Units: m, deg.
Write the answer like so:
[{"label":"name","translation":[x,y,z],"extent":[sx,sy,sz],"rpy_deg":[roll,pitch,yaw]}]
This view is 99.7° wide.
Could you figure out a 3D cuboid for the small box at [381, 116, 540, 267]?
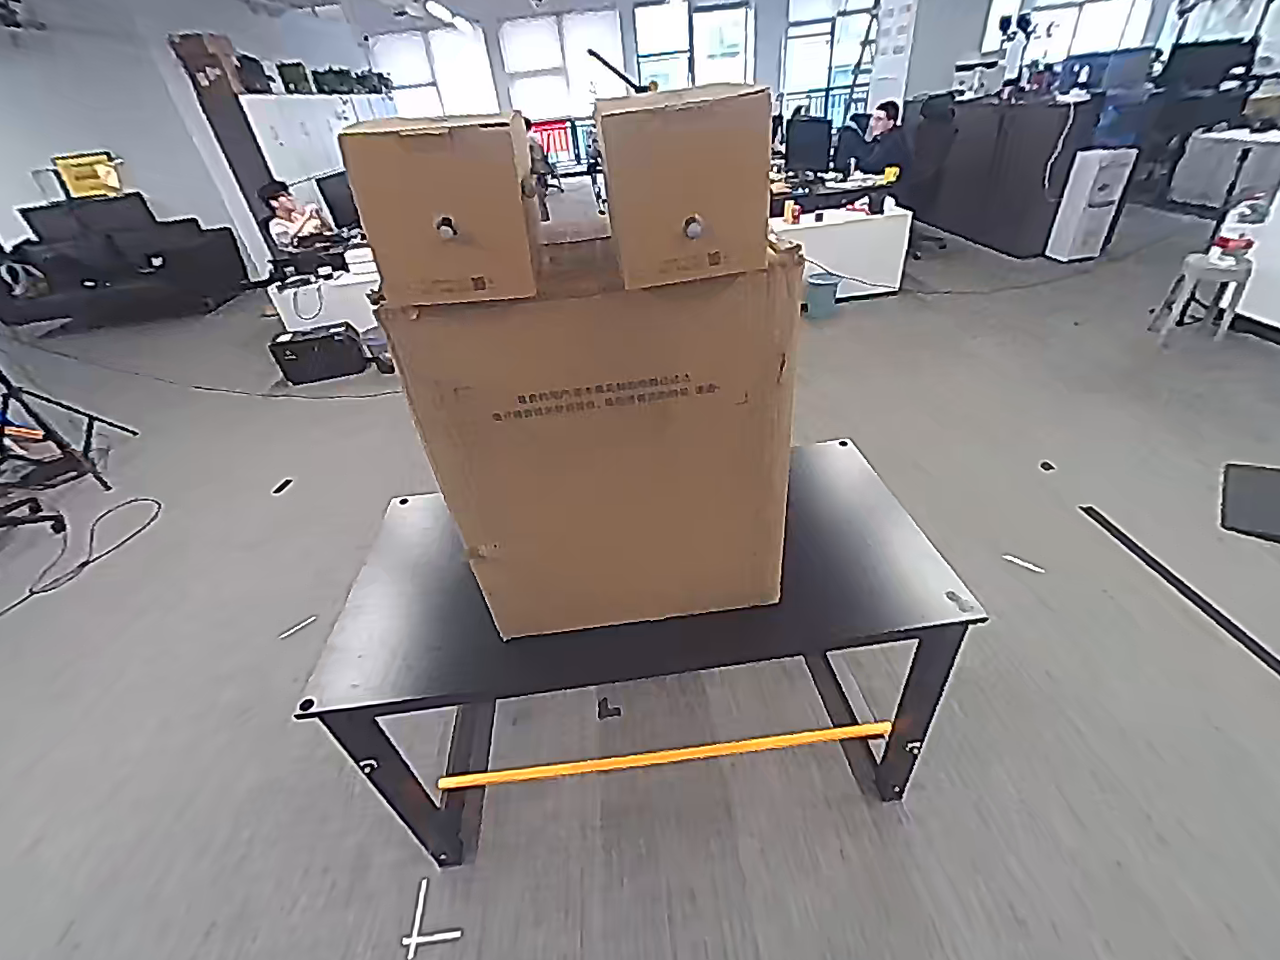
[{"label":"small box","translation":[-0.245,-0.421,0.789],"extent":[0.168,0.176,0.179],"rpy_deg":[-9,36,-2]}]

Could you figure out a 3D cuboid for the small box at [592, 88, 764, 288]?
[{"label":"small box","translation":[0.039,-0.341,0.631],"extent":[0.168,0.176,0.179],"rpy_deg":[-10,39,0]}]
